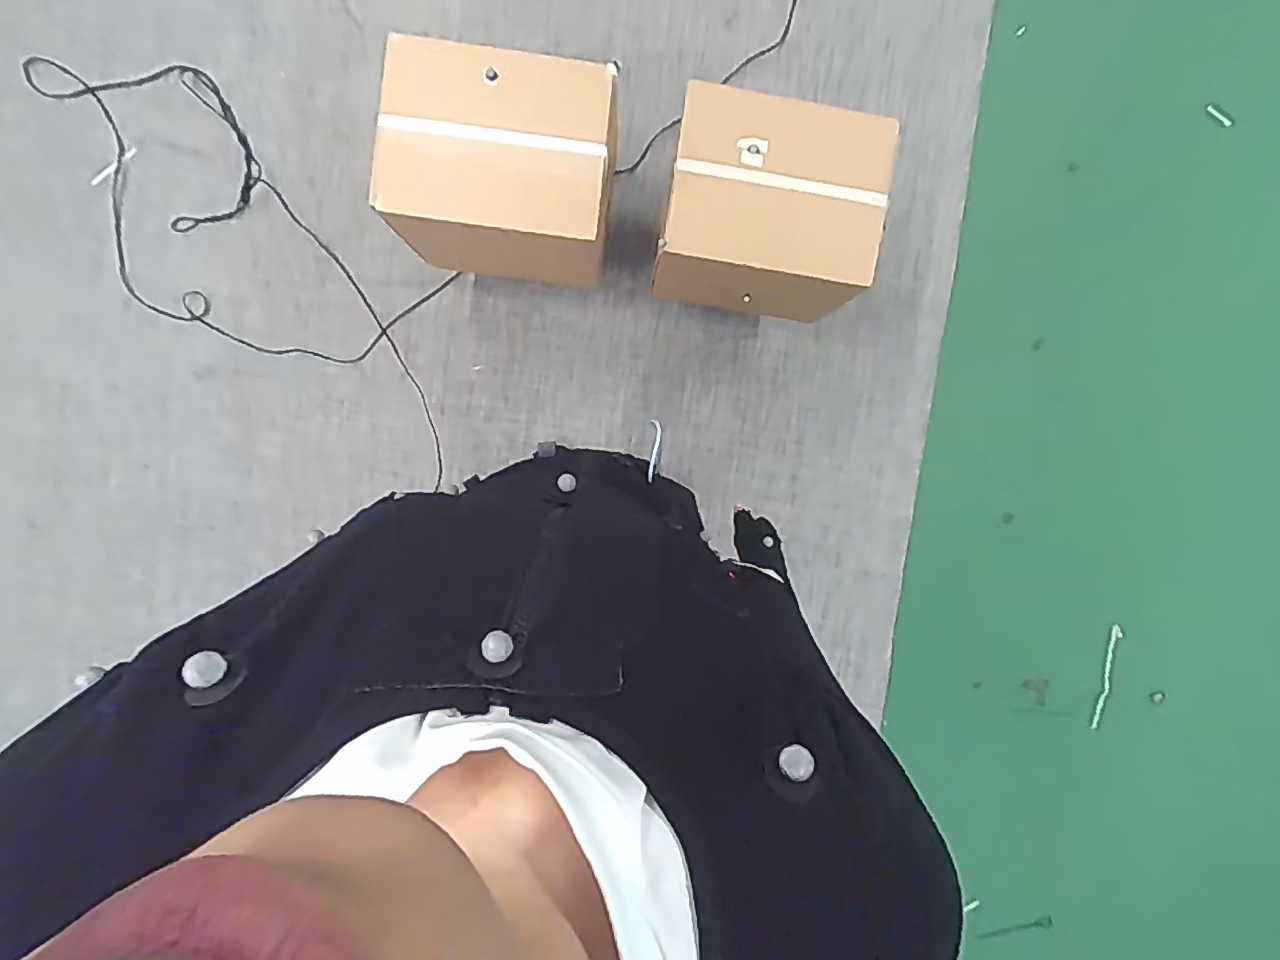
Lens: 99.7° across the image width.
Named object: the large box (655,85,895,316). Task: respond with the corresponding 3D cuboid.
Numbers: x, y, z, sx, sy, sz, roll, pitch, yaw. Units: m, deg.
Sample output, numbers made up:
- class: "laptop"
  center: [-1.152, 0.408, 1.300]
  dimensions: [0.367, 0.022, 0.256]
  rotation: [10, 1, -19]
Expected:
- class: "large box"
  center: [0.260, -0.564, 1.164]
  dimensions: [0.408, 0.320, 0.320]
  rotation: [9, 93, -3]
